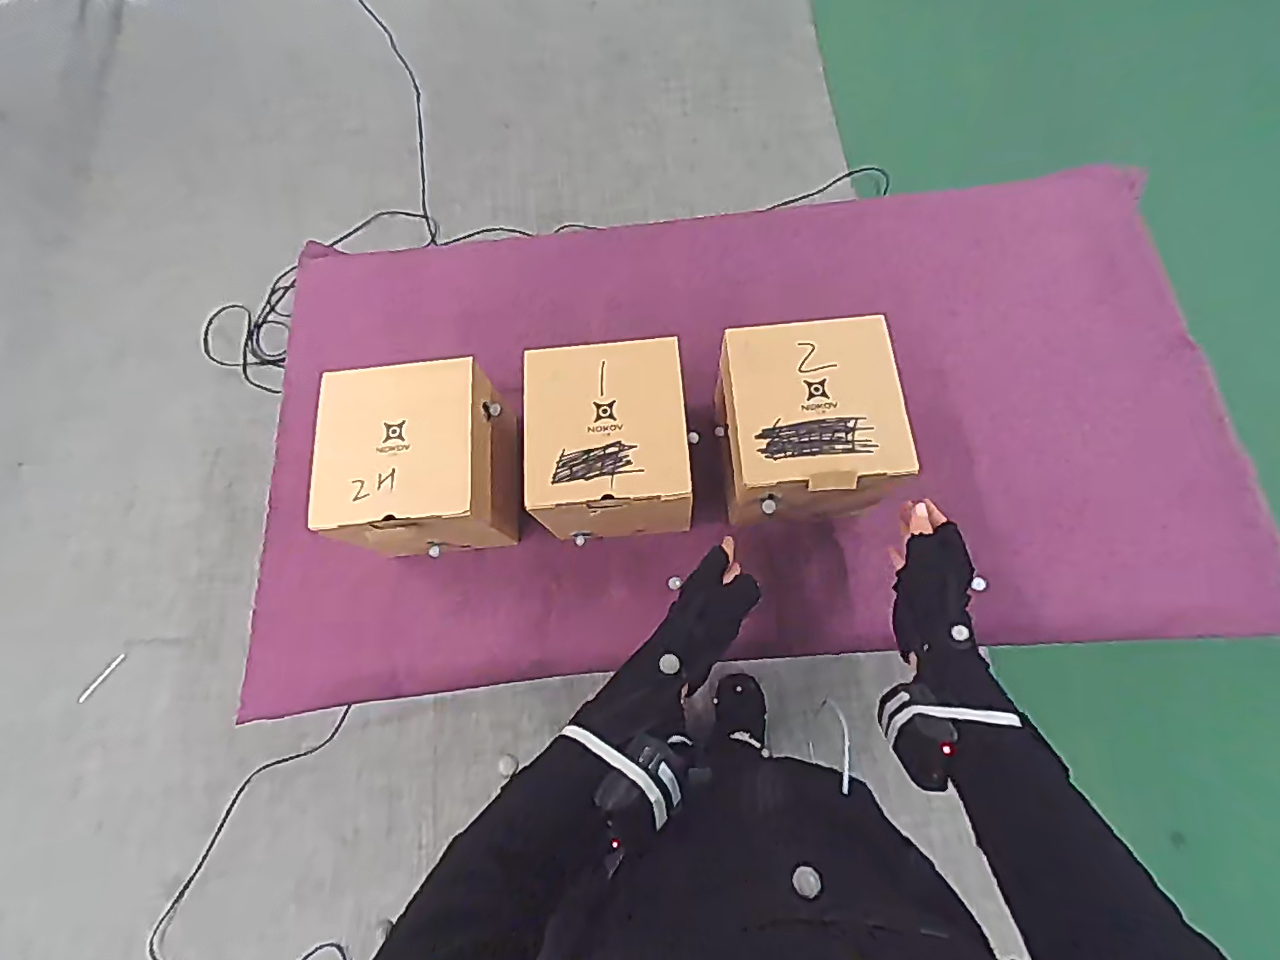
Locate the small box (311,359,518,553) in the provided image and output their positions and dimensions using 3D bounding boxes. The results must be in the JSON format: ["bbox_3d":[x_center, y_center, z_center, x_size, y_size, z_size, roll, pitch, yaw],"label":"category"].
[{"bbox_3d":[-0.247,-0.019,0.635,0.168,0.176,0.179,-6,73,3],"label":"small box"}]
